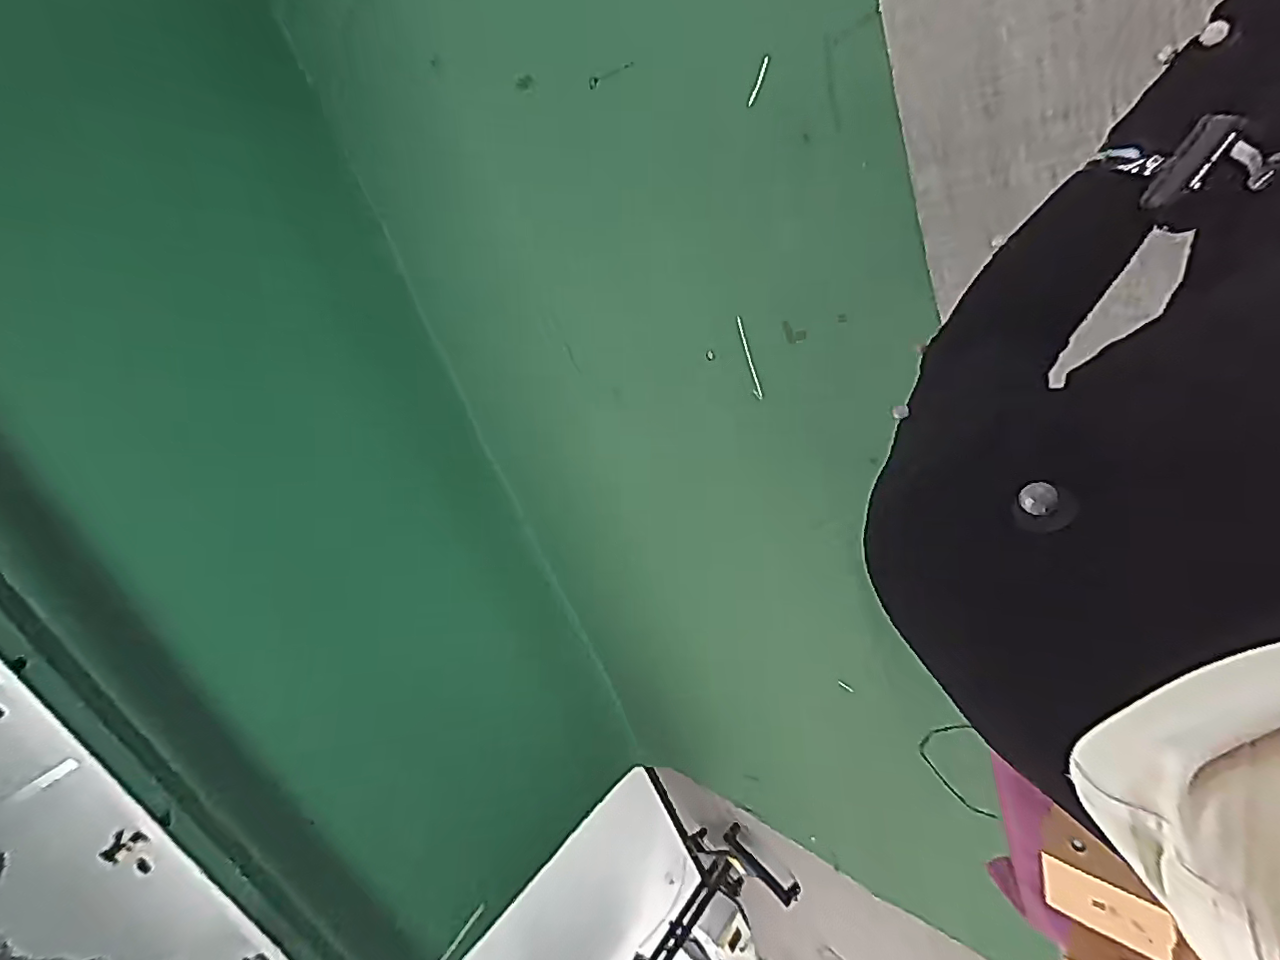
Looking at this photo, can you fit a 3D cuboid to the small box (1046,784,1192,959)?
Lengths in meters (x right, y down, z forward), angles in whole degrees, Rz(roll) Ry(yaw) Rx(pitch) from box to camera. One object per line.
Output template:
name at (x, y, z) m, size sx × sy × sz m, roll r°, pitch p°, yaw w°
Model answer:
small box at (0.867, 0.696, 0.982) m, size 0.179 × 0.176 × 0.168 m, roll 5°, pitch 124°, yaw 47°

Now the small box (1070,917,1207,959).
small box at (0.996, 0.972, 1.074) m, size 0.179 × 0.176 × 0.168 m, roll -8°, pitch 112°, yaw 51°
